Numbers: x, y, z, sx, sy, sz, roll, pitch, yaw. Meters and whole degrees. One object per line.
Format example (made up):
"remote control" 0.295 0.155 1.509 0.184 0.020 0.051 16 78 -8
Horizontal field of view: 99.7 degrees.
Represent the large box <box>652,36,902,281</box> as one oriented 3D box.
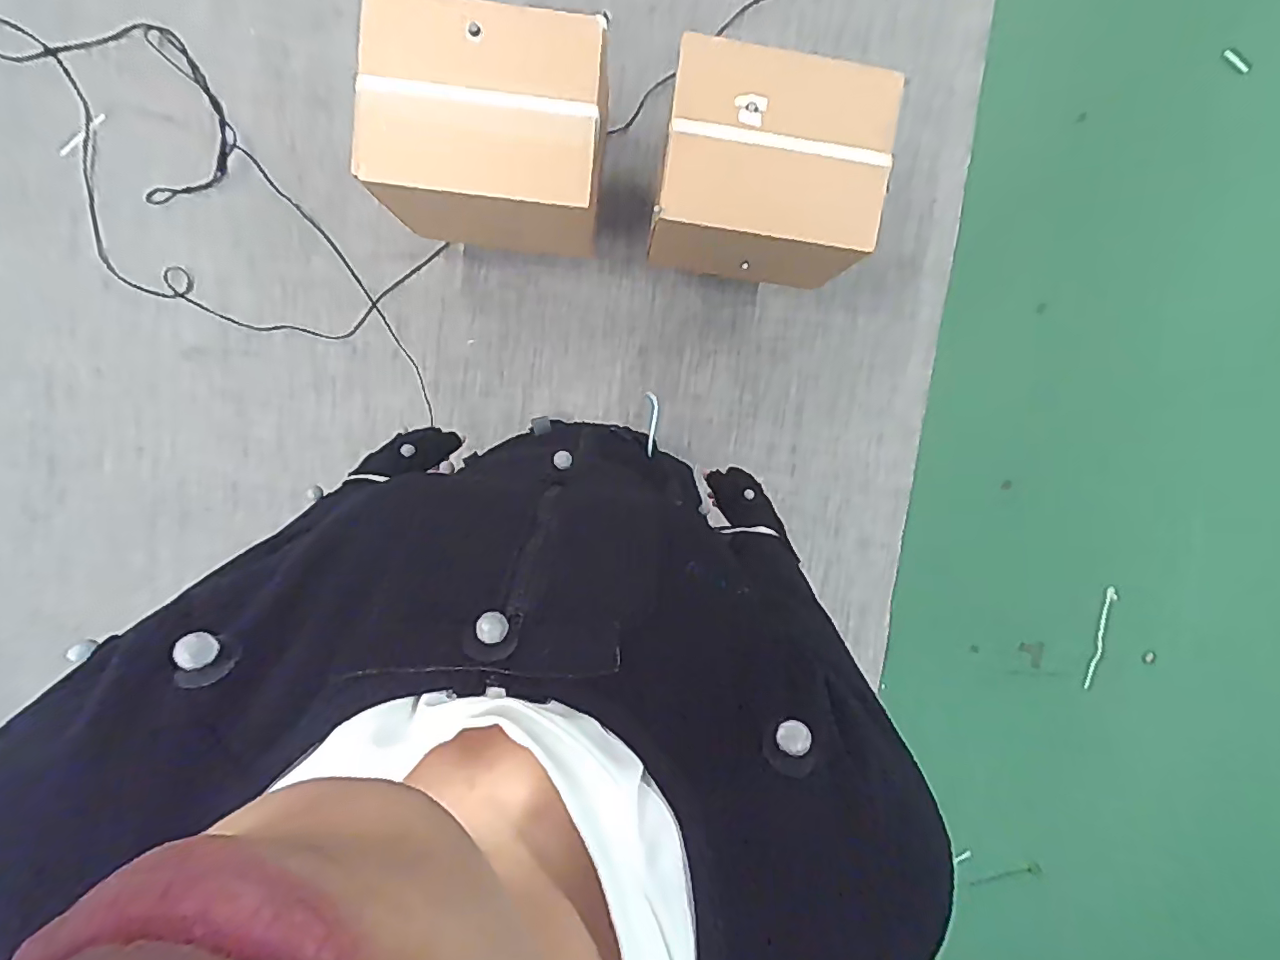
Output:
"large box" 0.251 -0.624 1.121 0.408 0.320 0.320 8 97 -3
